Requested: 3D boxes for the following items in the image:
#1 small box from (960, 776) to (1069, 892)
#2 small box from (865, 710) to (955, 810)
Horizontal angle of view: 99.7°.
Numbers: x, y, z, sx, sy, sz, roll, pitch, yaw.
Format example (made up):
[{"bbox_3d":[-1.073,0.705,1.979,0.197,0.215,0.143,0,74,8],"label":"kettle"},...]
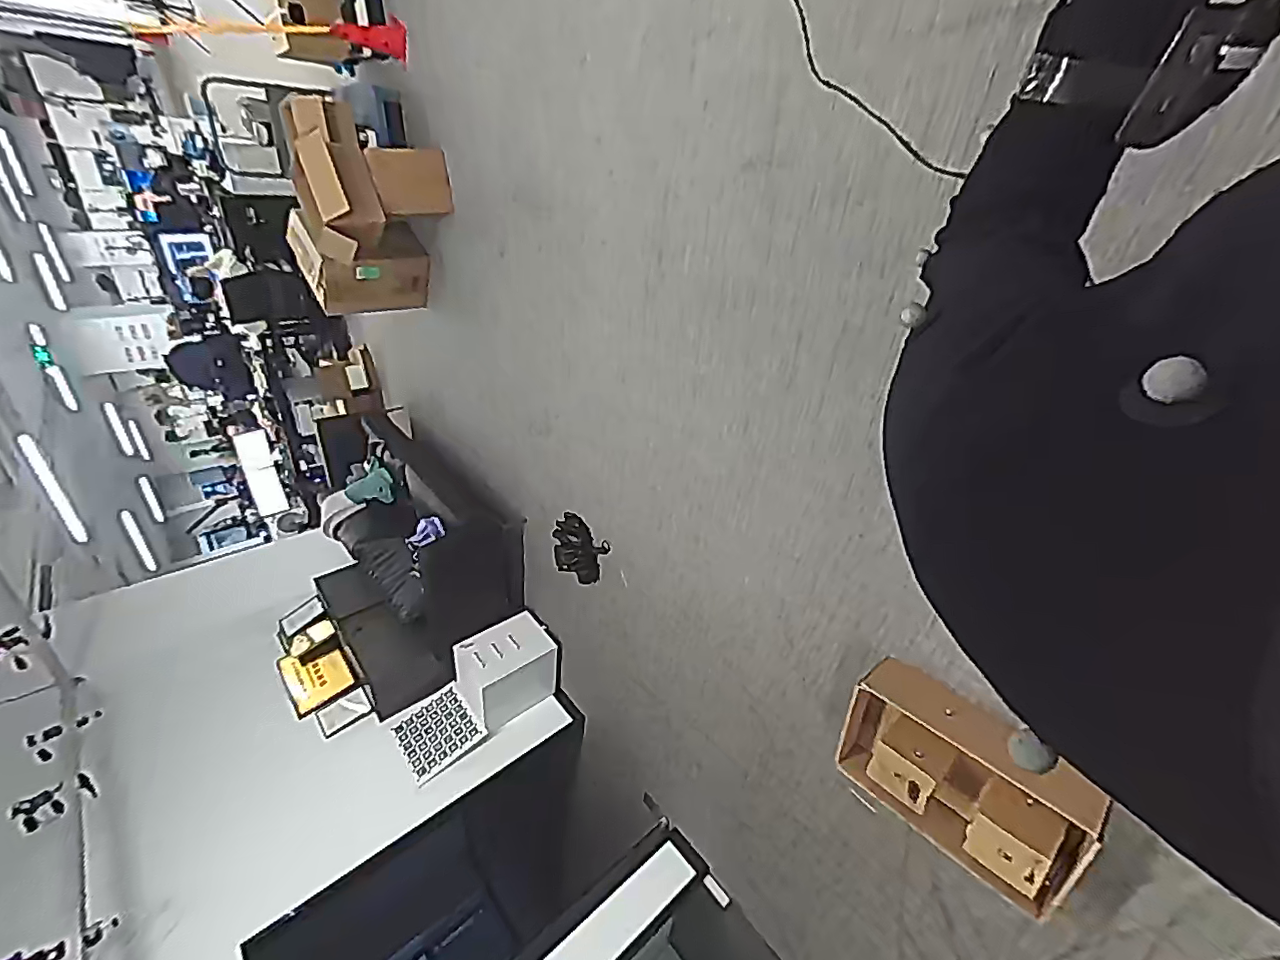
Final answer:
[{"bbox_3d":[1.014,0.944,1.466,0.179,0.176,0.168,27,128,44],"label":"small box"},{"bbox_3d":[0.826,0.845,1.651,0.179,0.176,0.168,29,129,39],"label":"small box"}]
